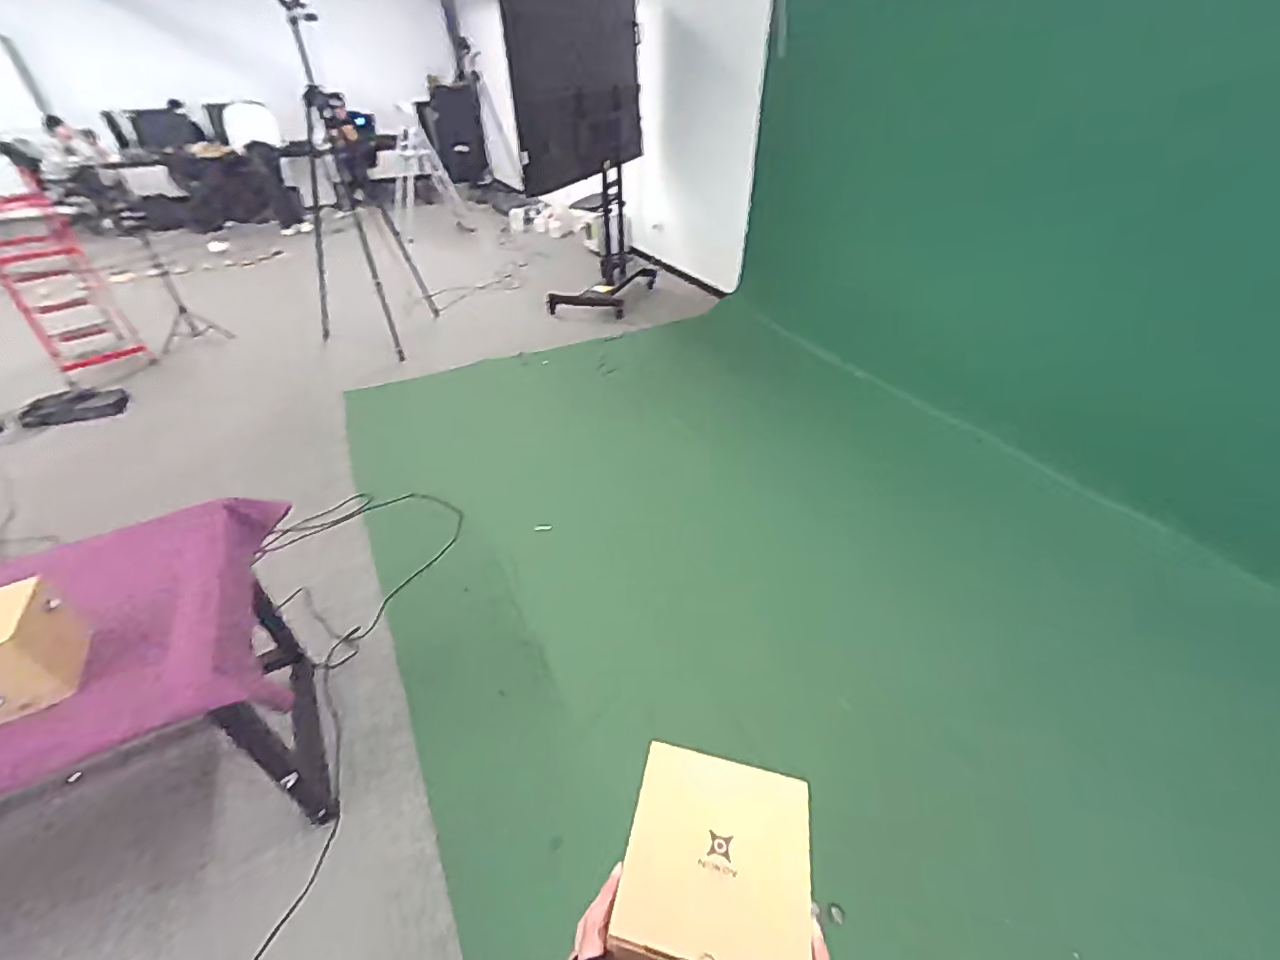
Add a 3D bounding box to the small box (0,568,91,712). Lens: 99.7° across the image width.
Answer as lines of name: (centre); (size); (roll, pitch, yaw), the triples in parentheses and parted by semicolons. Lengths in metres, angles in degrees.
small box: (-1.162, 0.298, 0.983); (0.168, 0.176, 0.179); (-20, 42, -22)
